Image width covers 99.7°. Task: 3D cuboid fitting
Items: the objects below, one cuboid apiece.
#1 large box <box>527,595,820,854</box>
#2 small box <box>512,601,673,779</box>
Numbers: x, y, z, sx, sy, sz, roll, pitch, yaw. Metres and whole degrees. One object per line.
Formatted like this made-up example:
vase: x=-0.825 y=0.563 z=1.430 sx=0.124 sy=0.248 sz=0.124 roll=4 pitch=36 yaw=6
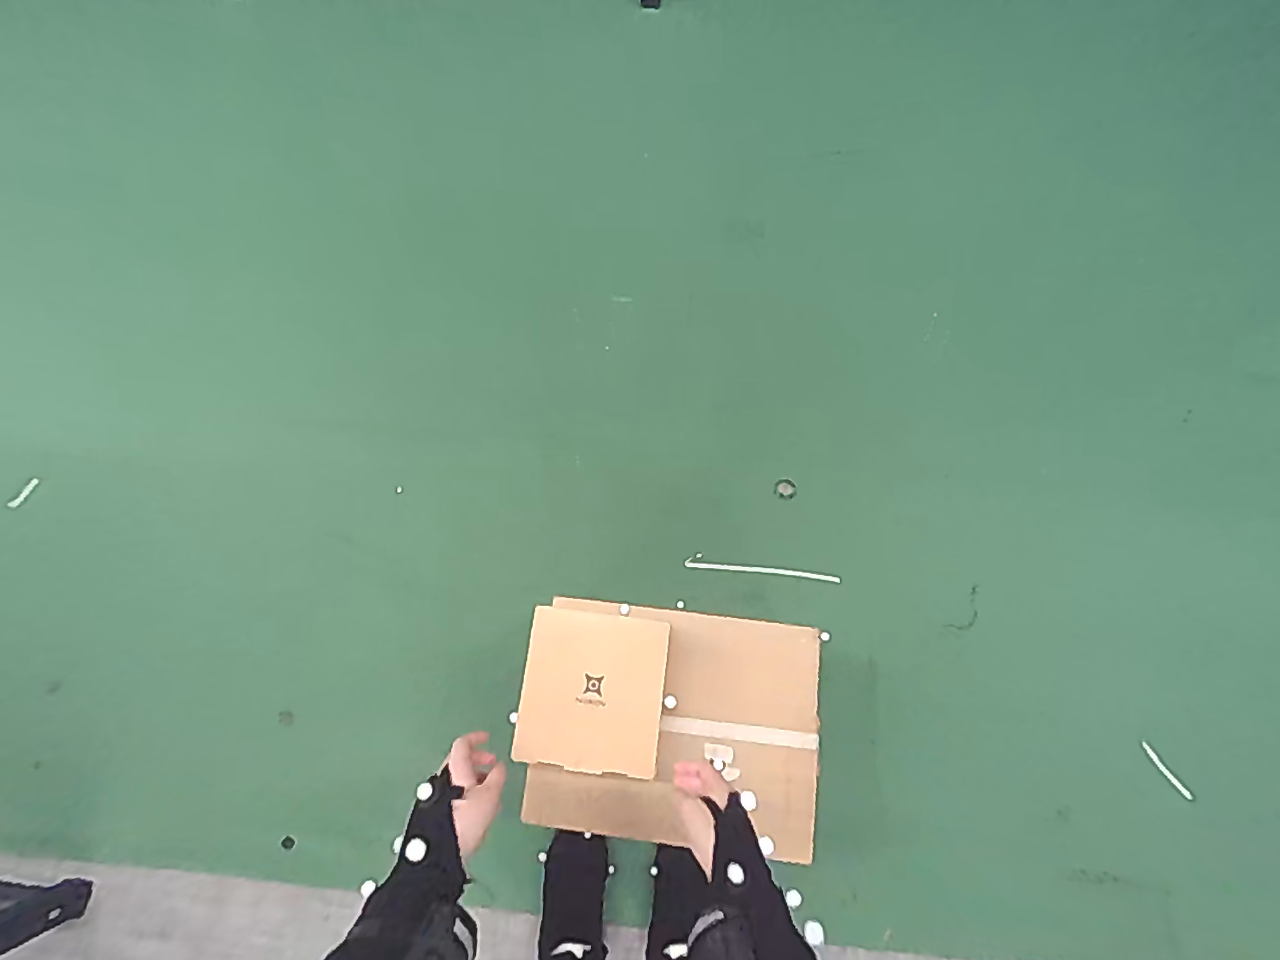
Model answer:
large box: x=0.055 y=0.374 z=0.912 sx=0.408 sy=0.320 sz=0.320 roll=6 pitch=77 yaw=3
small box: x=-0.052 y=0.256 z=0.694 sx=0.168 sy=0.176 sz=0.179 roll=6 pitch=76 yaw=3
